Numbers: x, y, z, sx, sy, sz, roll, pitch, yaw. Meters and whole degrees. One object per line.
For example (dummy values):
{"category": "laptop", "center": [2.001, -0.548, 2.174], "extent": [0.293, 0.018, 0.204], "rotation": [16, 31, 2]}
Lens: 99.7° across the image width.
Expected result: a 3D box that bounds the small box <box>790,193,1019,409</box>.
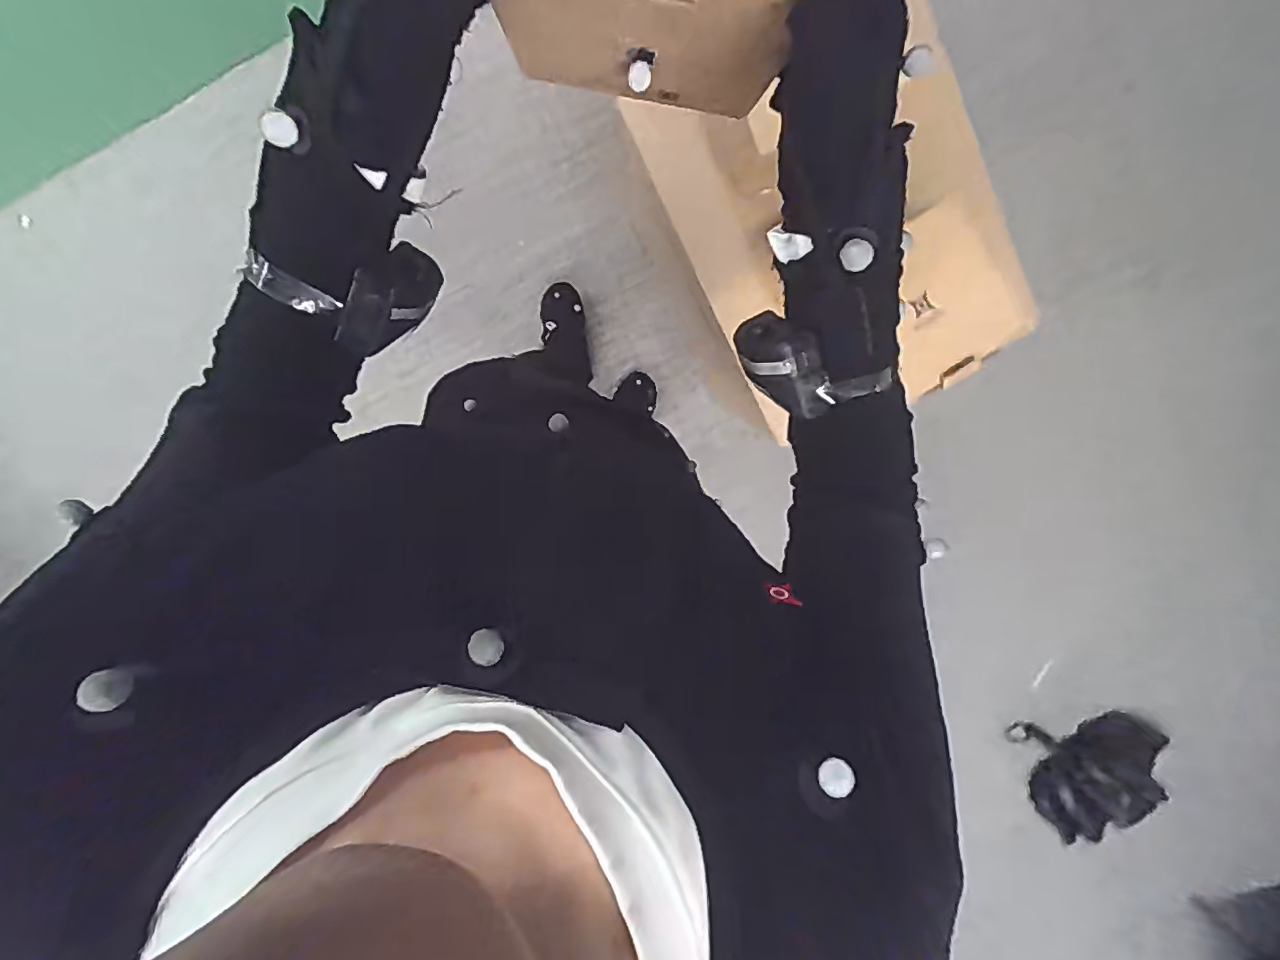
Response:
{"category": "small box", "center": [0.312, -0.212, 0.674], "extent": [0.168, 0.176, 0.179], "rotation": [-33, 99, 10]}
